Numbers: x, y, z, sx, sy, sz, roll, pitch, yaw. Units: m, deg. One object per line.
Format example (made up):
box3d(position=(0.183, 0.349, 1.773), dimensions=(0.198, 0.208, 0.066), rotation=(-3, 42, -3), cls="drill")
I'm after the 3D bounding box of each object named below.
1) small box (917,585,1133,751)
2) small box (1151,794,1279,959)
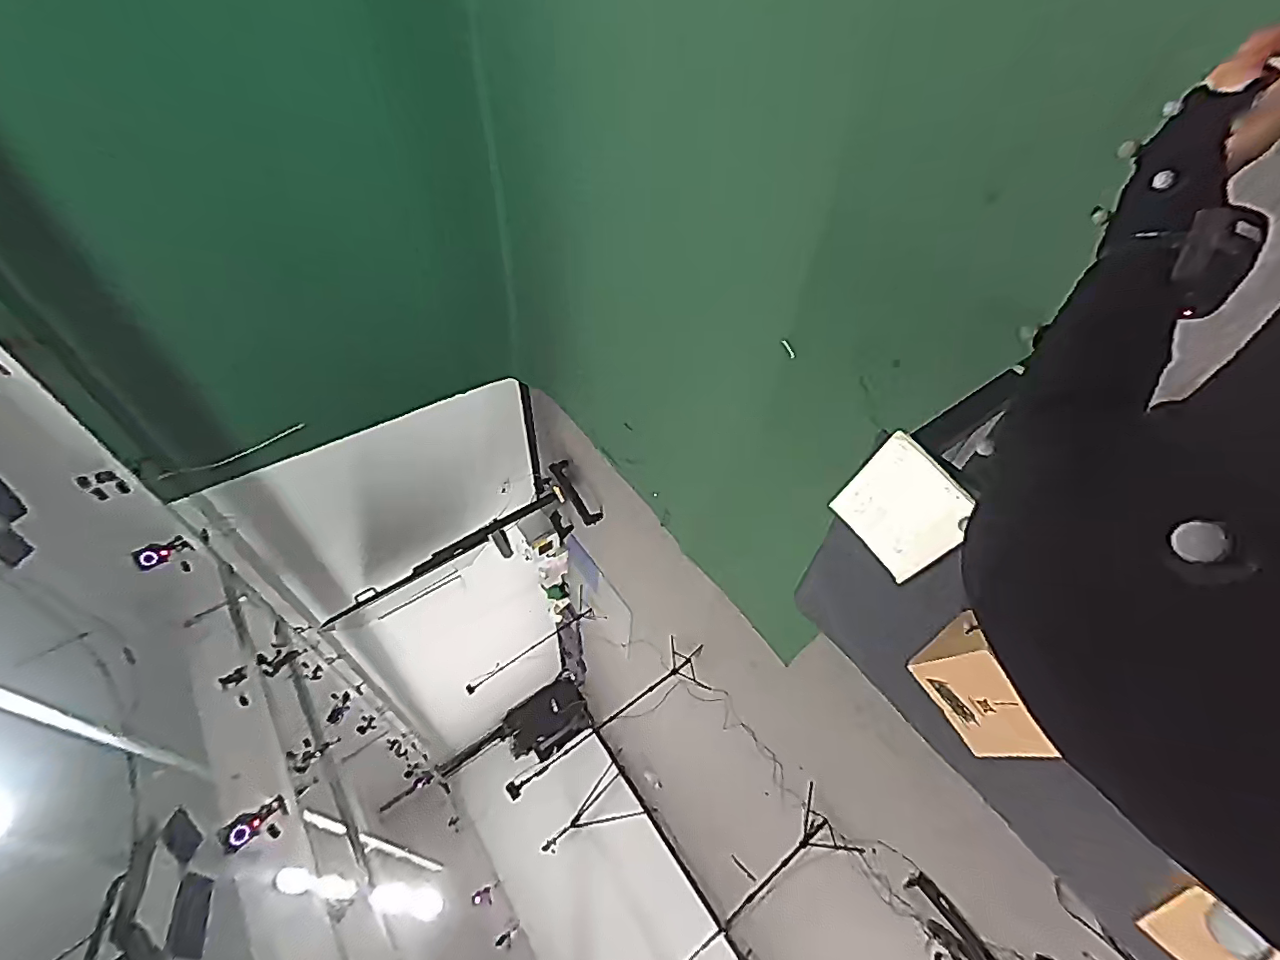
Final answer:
box3d(position=(0.581, 0.287, 0.826), dimensions=(0.168, 0.176, 0.179), rotation=(54, 155, 15), cls="small box")
box3d(position=(0.803, 0.538, 0.662), dimensions=(0.179, 0.176, 0.168), rotation=(38, 146, 44), cls="small box")
